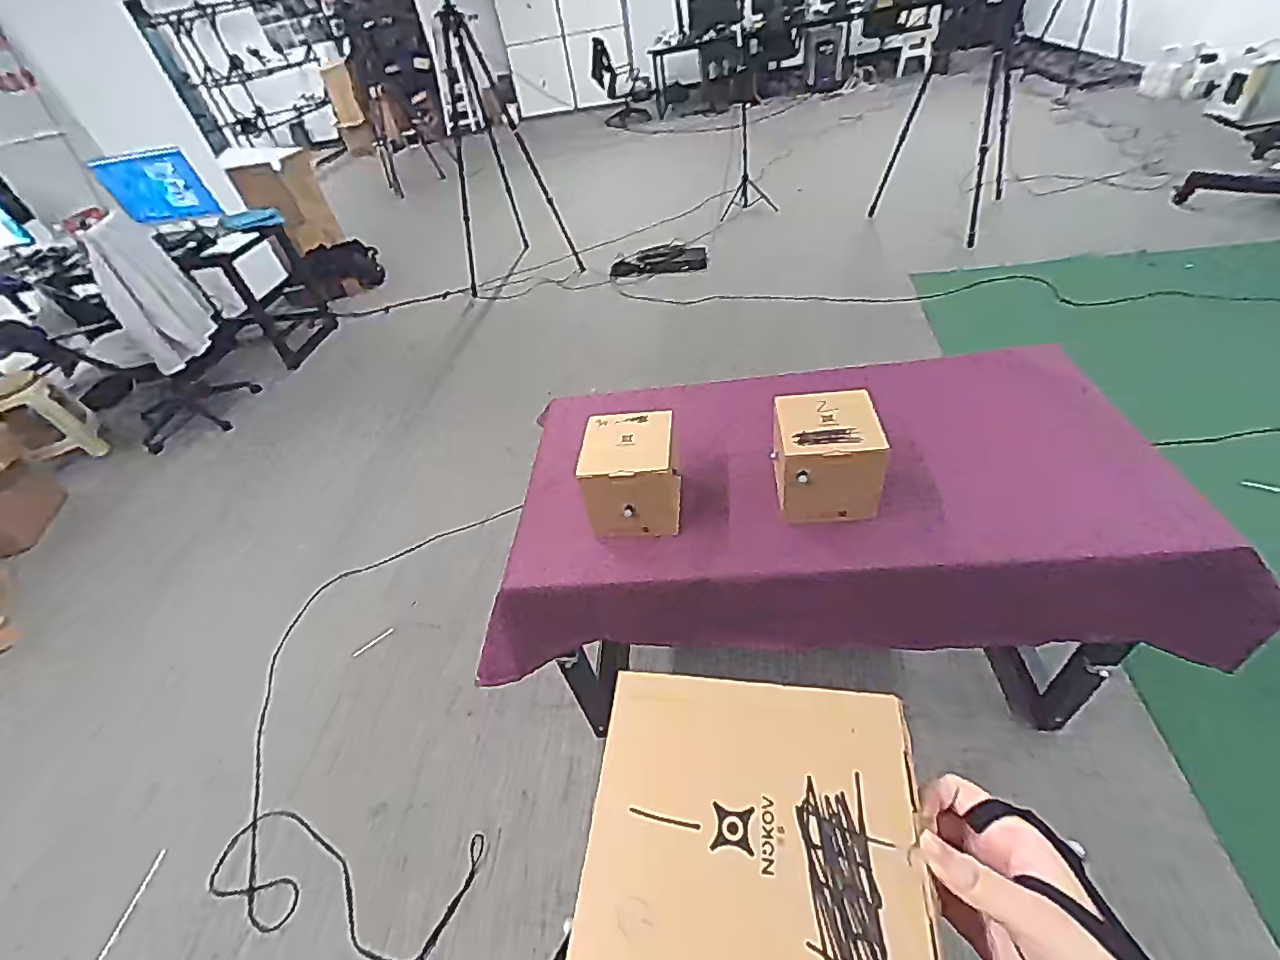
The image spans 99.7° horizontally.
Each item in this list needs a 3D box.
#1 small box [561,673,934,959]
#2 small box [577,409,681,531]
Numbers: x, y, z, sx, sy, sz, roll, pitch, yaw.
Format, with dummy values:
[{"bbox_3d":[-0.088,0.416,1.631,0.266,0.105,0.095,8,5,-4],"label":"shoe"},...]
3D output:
[{"bbox_3d":[0.068,0.244,0.349,0.179,0.176,0.168,1,49,13],"label":"small box"},{"bbox_3d":[-0.010,-0.015,1.037,0.168,0.176,0.179,-1,45,9],"label":"small box"}]
